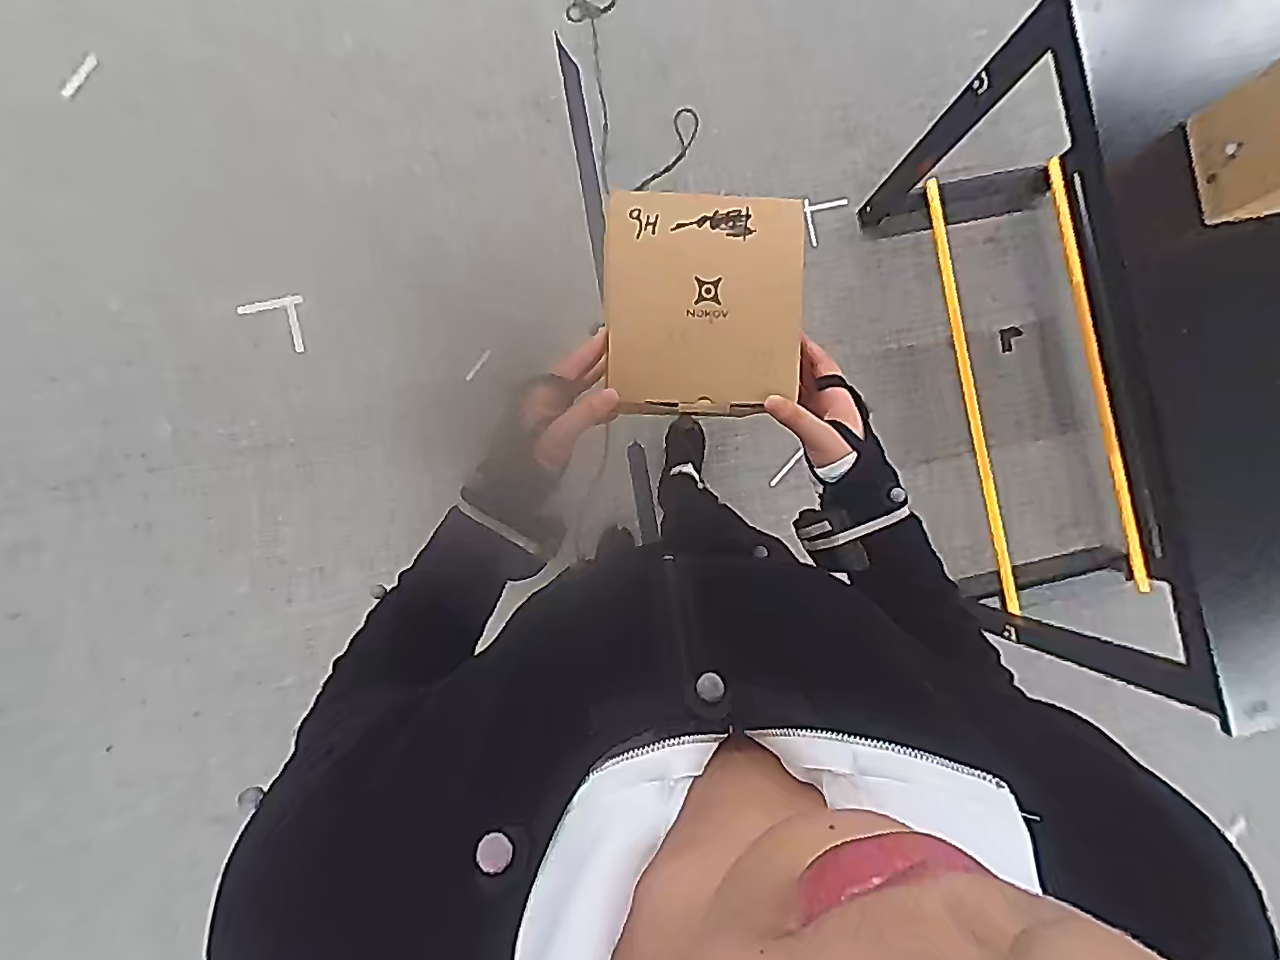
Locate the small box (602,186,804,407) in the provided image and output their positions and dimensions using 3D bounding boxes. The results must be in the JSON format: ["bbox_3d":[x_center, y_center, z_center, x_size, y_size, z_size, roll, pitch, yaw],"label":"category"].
[{"bbox_3d":[0.048,-0.162,0.535,0.168,0.176,0.179,0,96,-5],"label":"small box"}]

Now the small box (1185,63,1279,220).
[{"bbox_3d":[0.931,-0.488,0.749,0.179,0.176,0.168,-10,89,-3],"label":"small box"}]
